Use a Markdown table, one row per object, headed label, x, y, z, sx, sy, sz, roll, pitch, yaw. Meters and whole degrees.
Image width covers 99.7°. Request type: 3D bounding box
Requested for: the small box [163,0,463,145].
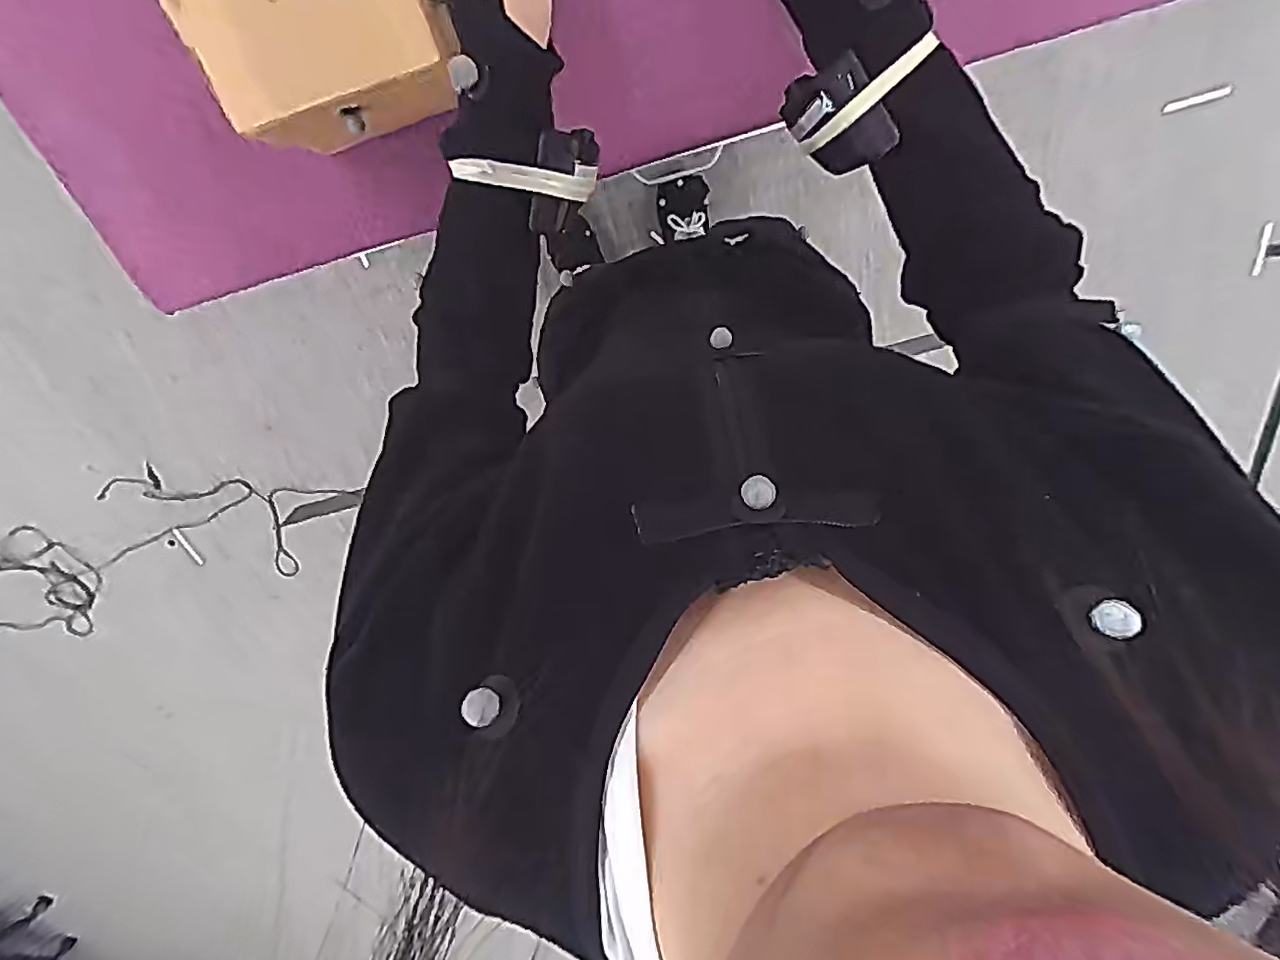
| label | x | y | z | sx | sy | sz | roll | pitch | yaw |
| --- | --- | --- | --- | --- | --- | --- | --- | --- | --- |
| small box | -0.266 | -0.403 | 0.456 | 0.179 | 0.176 | 0.168 | -17 | 118 | 4 |
